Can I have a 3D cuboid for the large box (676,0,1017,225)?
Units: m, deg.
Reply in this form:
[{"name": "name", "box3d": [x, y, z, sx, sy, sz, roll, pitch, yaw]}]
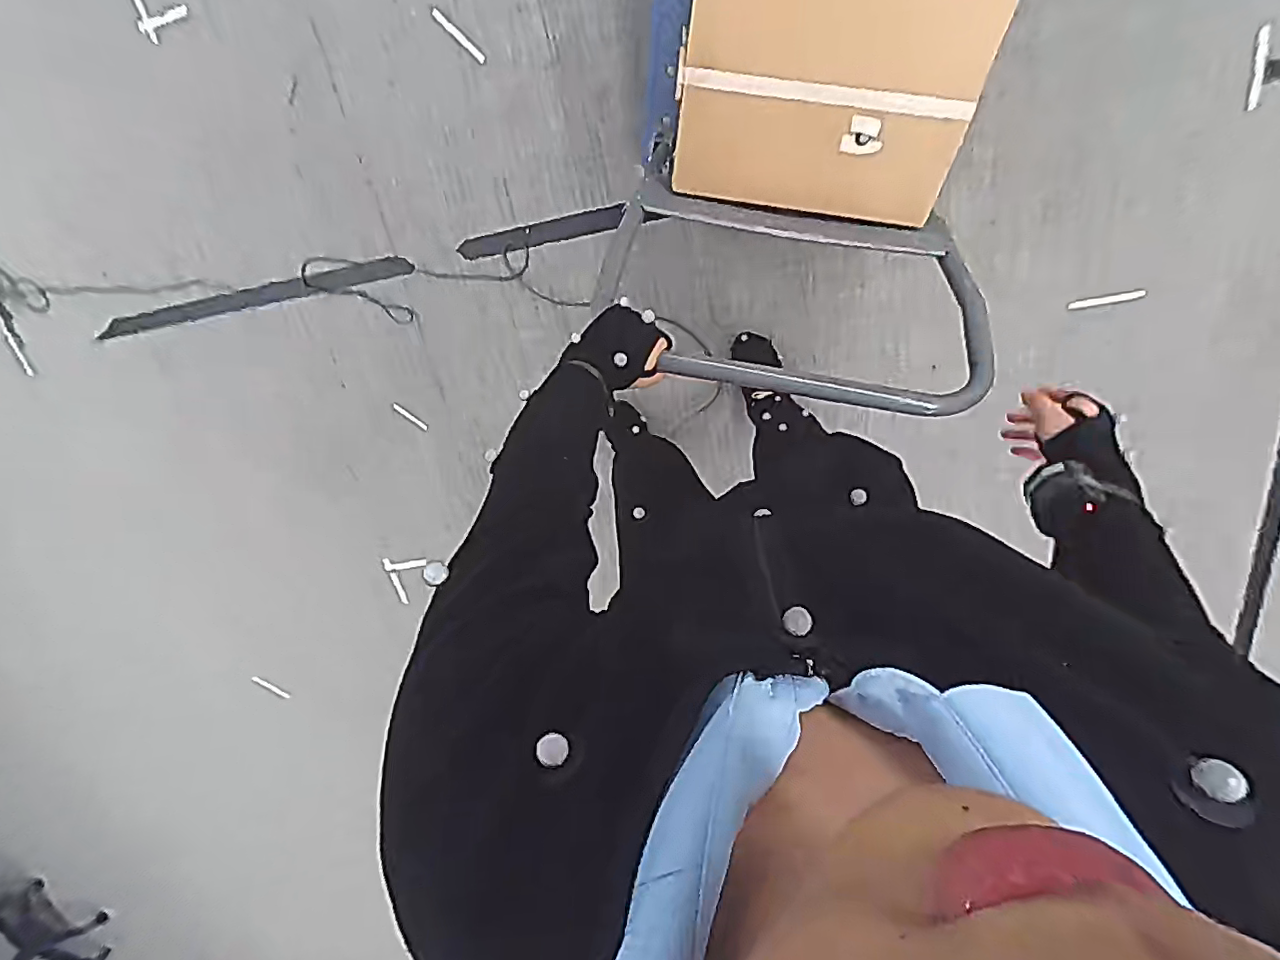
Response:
[{"name": "large box", "box3d": [0.285, -0.644, 0.872, 0.408, 0.320, 0.320, 10, 134, 3]}]
